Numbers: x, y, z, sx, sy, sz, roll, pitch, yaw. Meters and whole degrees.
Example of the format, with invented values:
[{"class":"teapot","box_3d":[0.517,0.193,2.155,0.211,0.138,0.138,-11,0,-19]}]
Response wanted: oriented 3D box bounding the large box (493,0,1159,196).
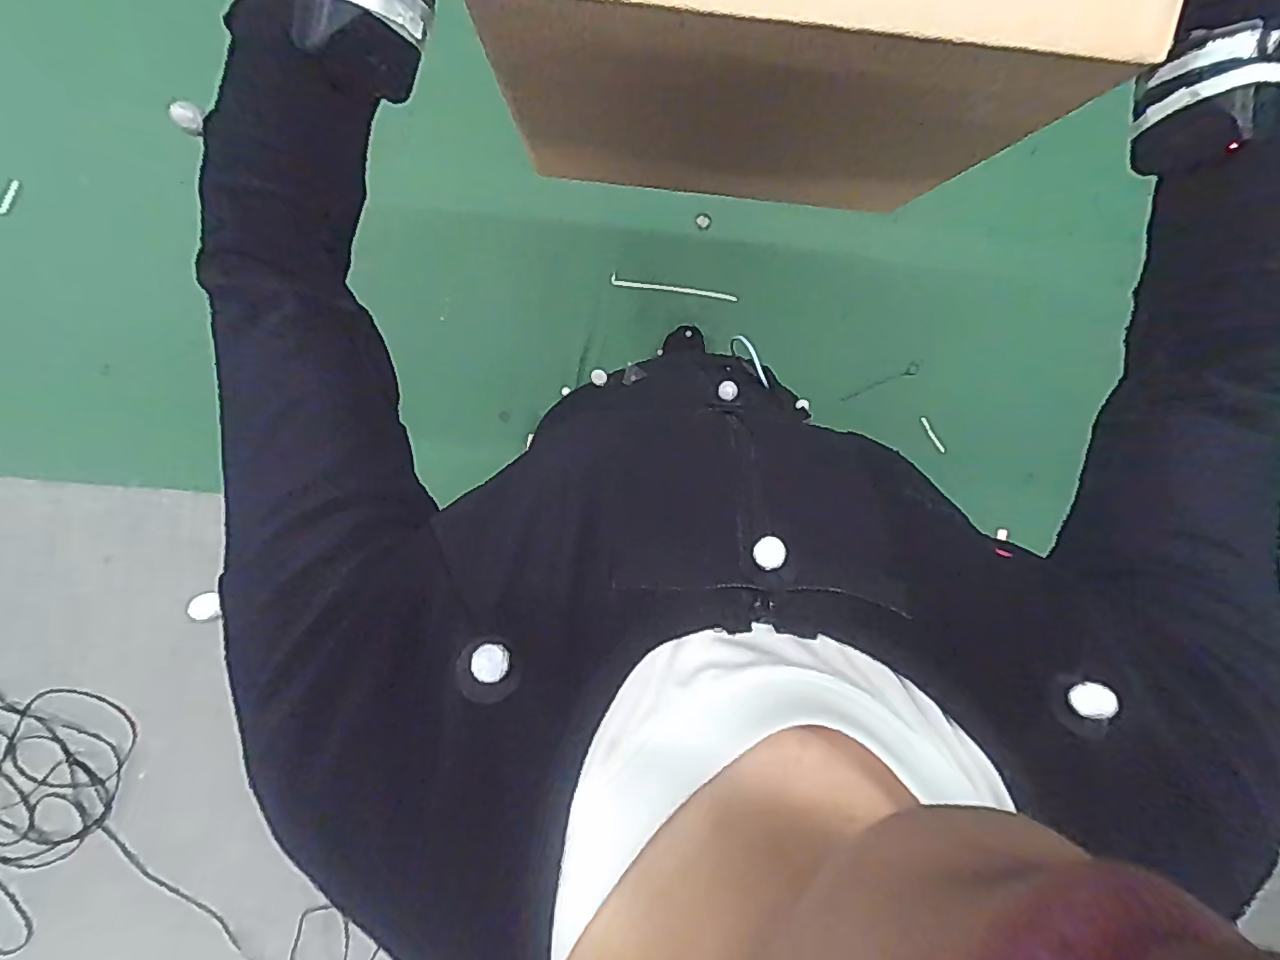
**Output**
[{"class":"large box","box_3d":[0.105,-0.447,0.424,0.408,0.320,0.320,3,102,-5]}]
